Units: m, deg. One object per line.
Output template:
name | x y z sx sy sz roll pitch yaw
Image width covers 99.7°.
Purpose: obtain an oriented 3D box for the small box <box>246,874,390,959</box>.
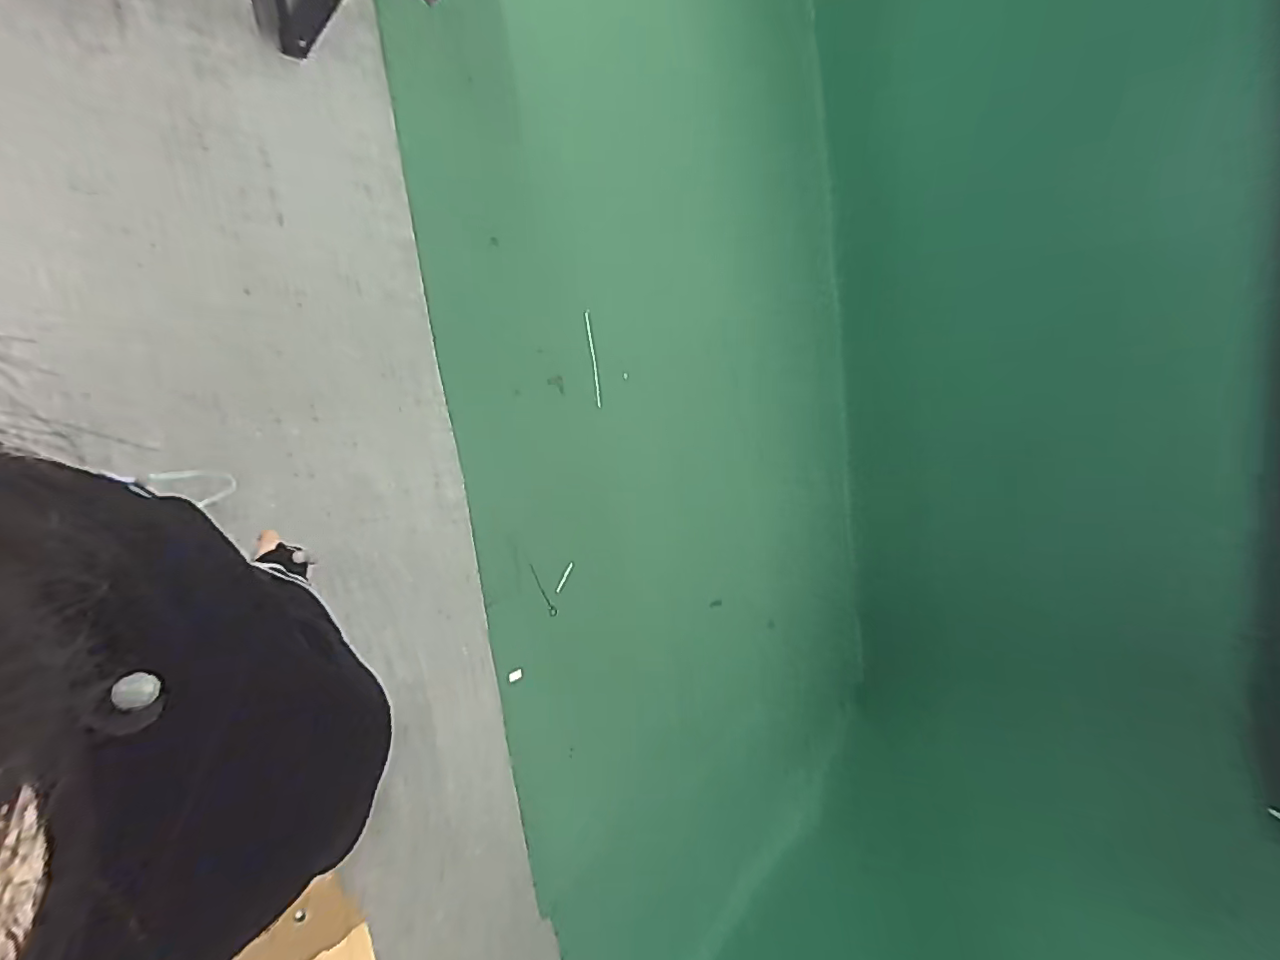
small box | -0.530 0.820 0.903 0.168 0.176 0.179 -16 99 -45
